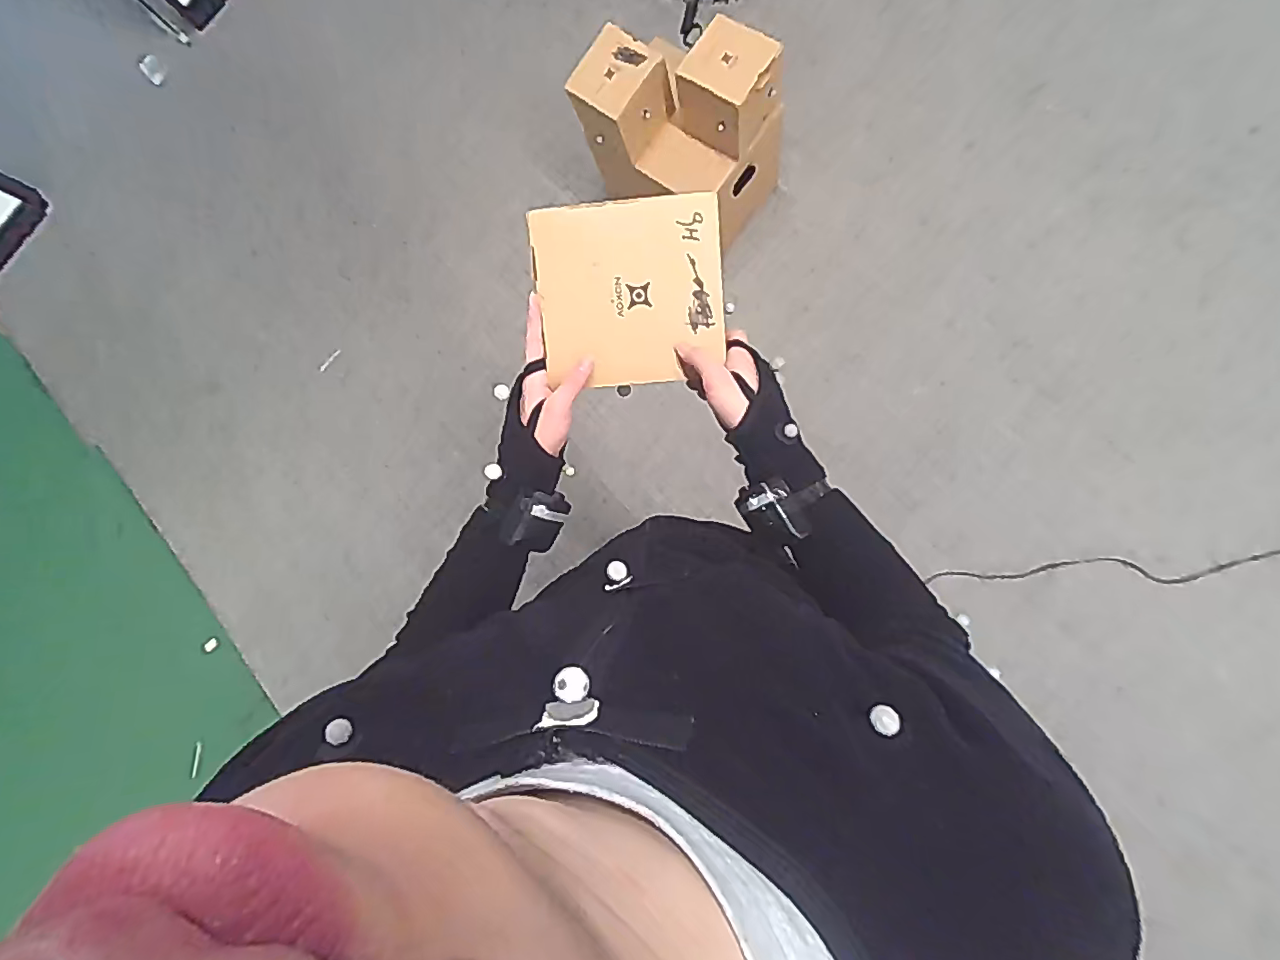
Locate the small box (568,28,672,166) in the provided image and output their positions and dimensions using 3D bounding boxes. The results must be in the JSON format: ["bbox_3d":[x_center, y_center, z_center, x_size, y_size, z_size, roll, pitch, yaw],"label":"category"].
[{"bbox_3d":[-0.038,-0.912,1.303,0.168,0.176,0.179,40,96,12],"label":"small box"}]

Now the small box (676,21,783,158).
[{"bbox_3d":[0.207,-0.890,1.251,0.179,0.176,0.168,36,89,14],"label":"small box"}]
